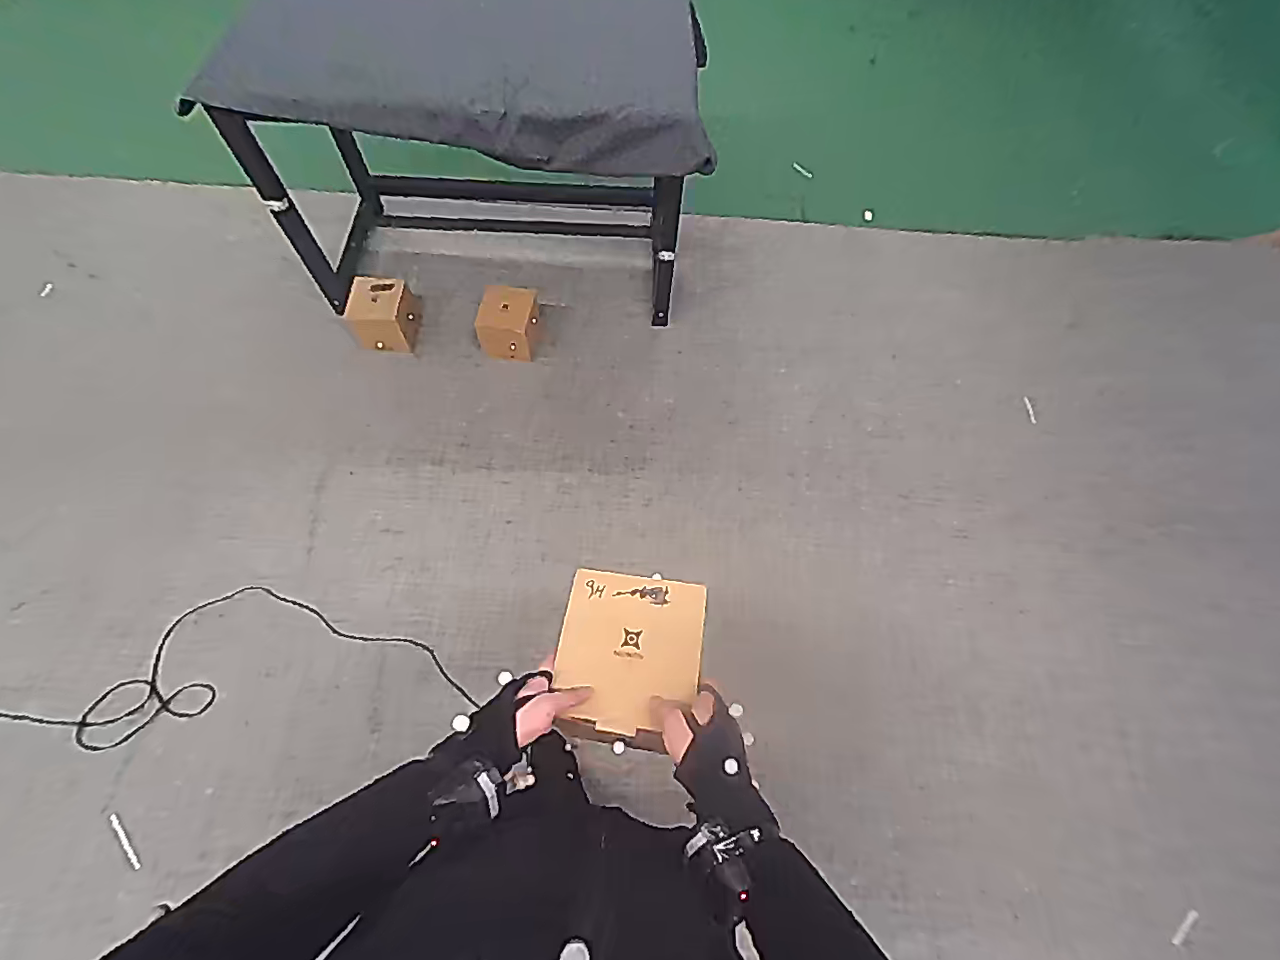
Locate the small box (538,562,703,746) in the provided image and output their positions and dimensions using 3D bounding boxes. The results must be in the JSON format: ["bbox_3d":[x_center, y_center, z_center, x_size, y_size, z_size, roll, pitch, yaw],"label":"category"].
[{"bbox_3d":[-0.013,0.225,0.682,0.168,0.176,0.179,7,59,6],"label":"small box"}]

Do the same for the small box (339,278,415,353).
[{"bbox_3d":[-0.868,-0.547,1.803,0.168,0.176,0.179,1,65,-2],"label":"small box"}]

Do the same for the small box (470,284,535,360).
[{"bbox_3d":[-0.454,-0.525,1.817,0.168,0.176,0.179,7,63,-1],"label":"small box"}]
